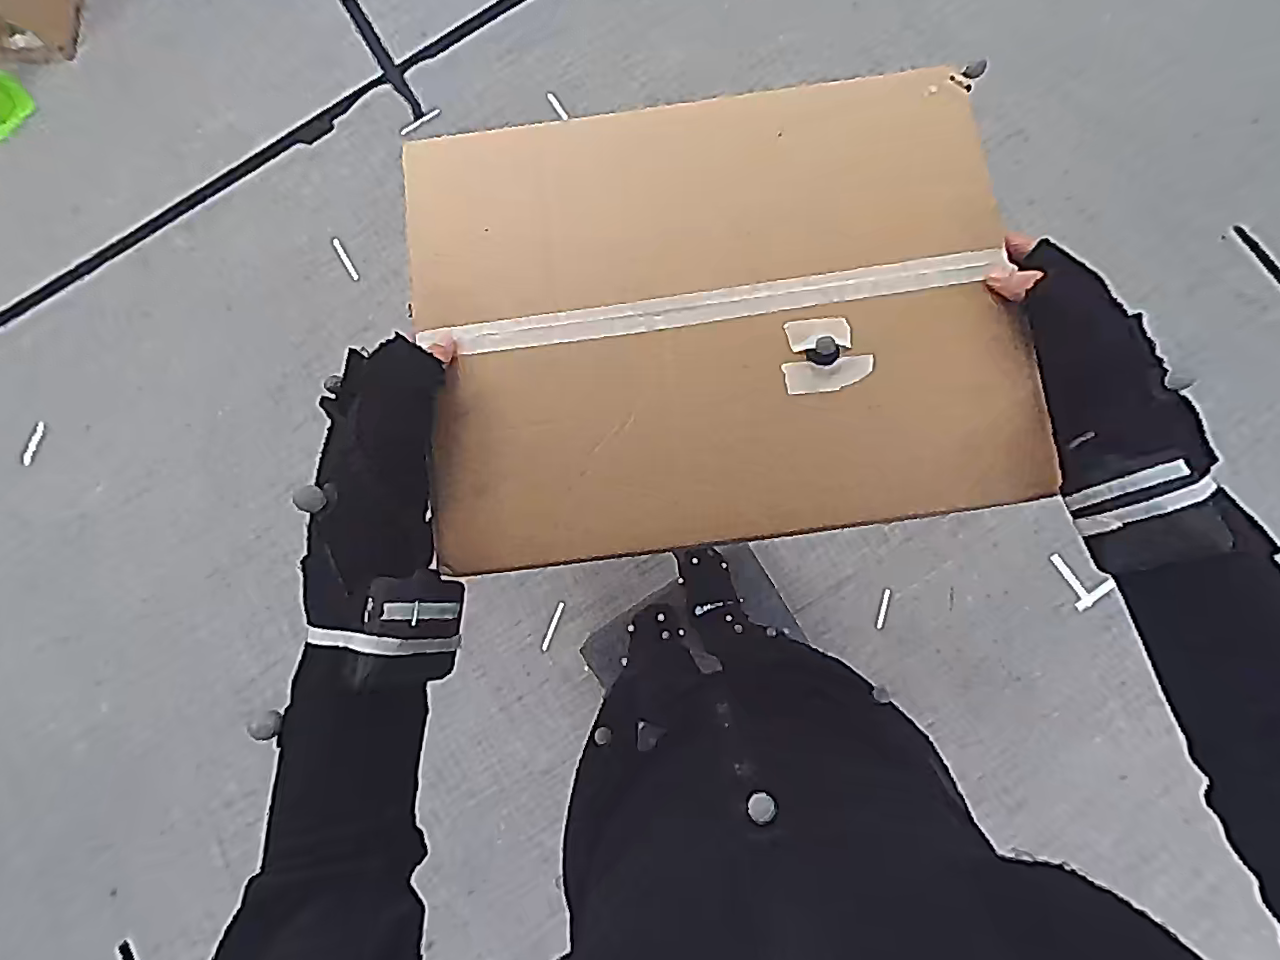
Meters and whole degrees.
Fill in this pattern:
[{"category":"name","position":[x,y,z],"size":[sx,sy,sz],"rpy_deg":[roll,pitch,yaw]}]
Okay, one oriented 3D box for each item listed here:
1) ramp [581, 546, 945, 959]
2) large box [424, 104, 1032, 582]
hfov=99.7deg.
[{"category":"ramp","position":[0.324,0.694,1.362],"size":[0.509,0.206,0.991],"rpy_deg":[-35,83,-2]},{"category":"large box","position":[0.053,-0.086,0.535],"size":[0.408,0.320,0.320],"rpy_deg":[-8,82,0]}]
